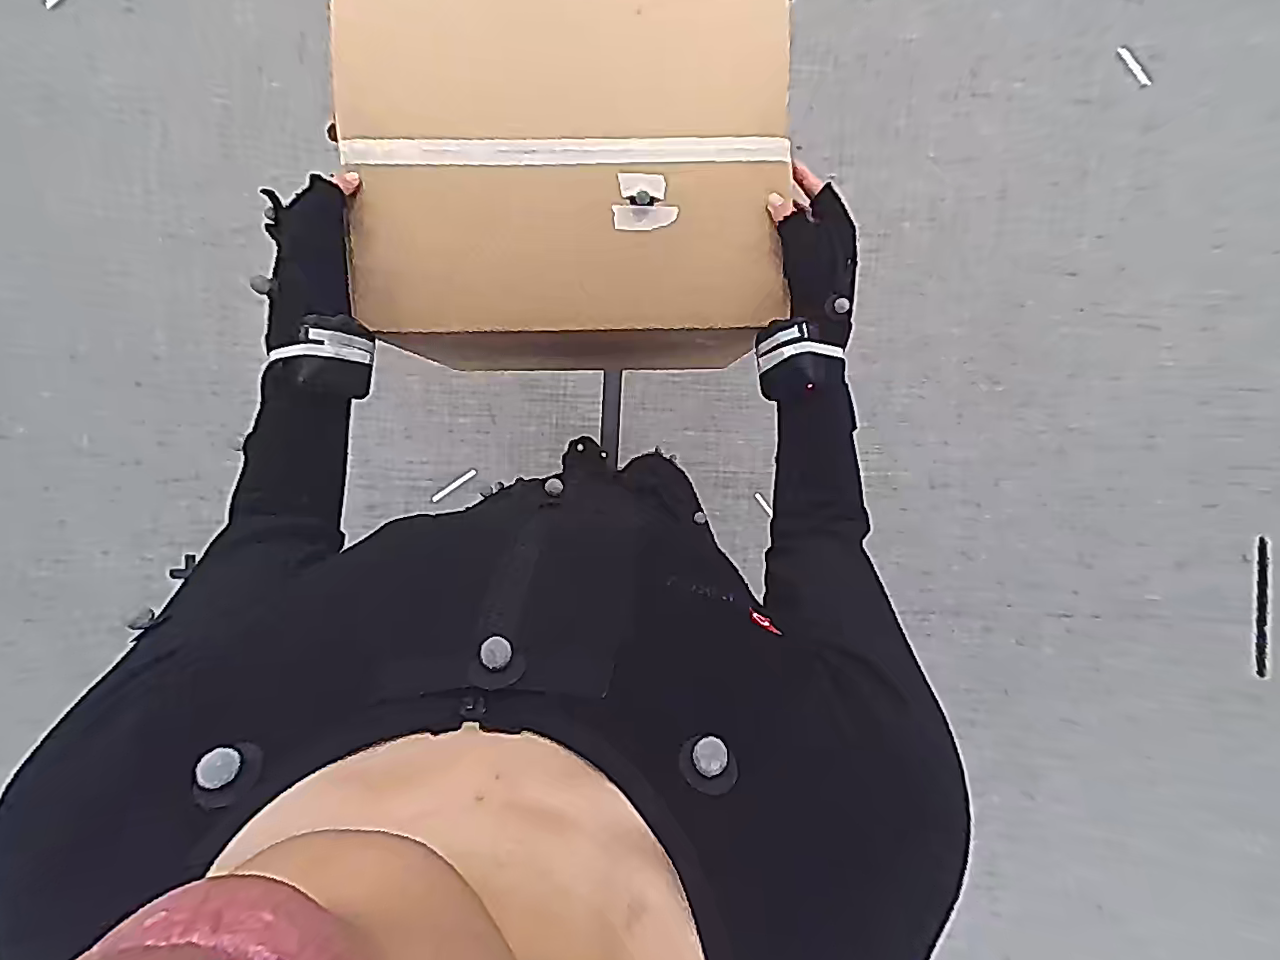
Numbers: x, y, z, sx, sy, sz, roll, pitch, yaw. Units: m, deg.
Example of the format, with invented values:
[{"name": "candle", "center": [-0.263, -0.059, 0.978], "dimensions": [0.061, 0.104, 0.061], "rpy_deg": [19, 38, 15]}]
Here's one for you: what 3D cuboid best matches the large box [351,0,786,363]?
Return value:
[{"name": "large box", "center": [-0.068, -0.321, 0.654], "dimensions": [0.408, 0.320, 0.320], "rpy_deg": [-1, 96, -3]}]
